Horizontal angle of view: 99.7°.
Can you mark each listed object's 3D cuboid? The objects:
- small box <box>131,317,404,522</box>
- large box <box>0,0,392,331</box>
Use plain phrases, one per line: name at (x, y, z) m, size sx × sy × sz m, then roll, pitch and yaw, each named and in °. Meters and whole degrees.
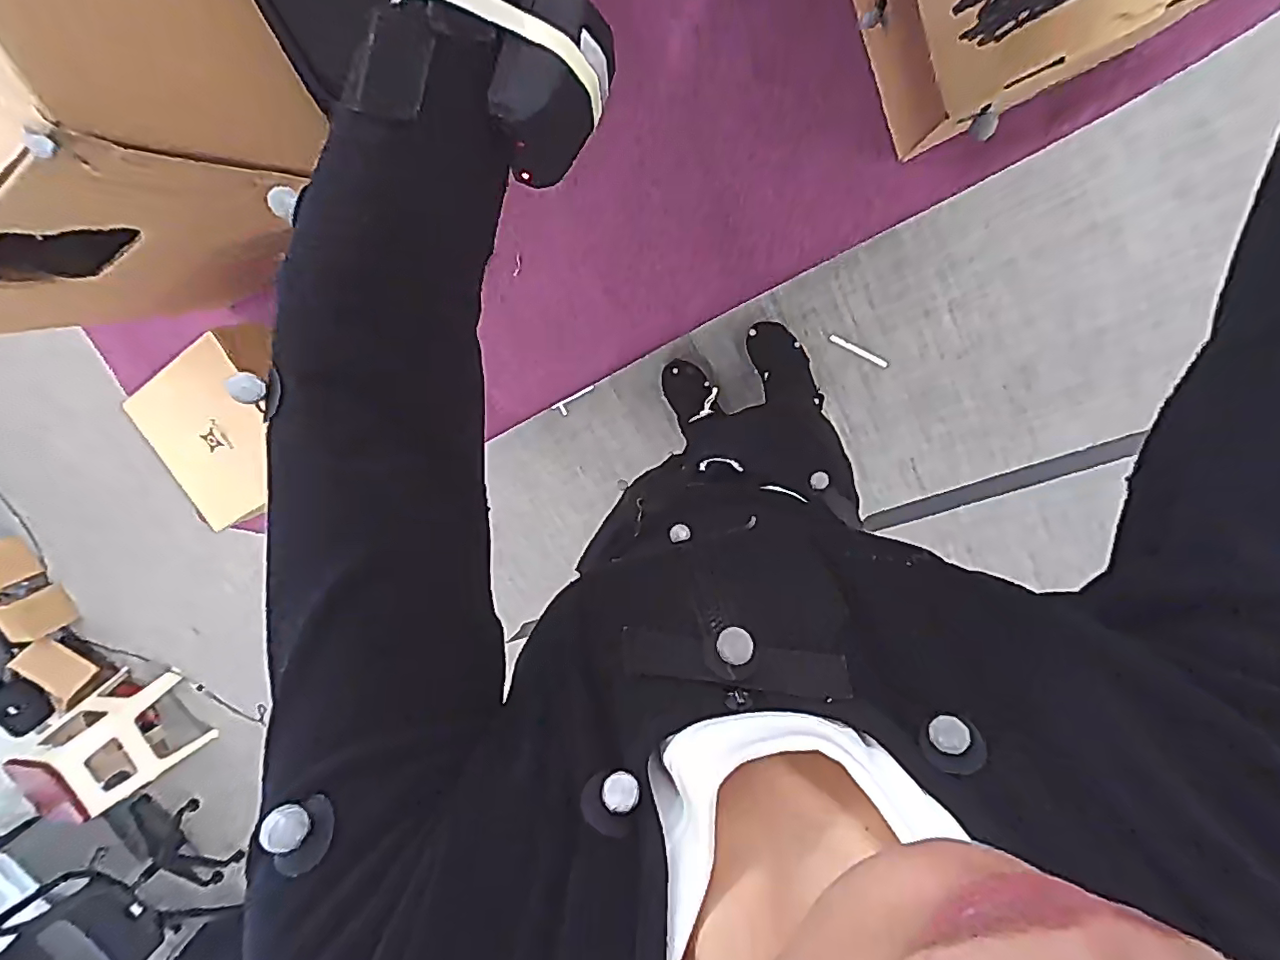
small box at (-0.426, -0.078, 0.644) m, size 0.179 × 0.176 × 0.168 m, roll -24°, pitch 103°, yaw 22°
large box at (-0.518, -0.390, 0.463) m, size 0.320 × 0.320 × 0.408 m, roll -21°, pitch 108°, yaw 23°
